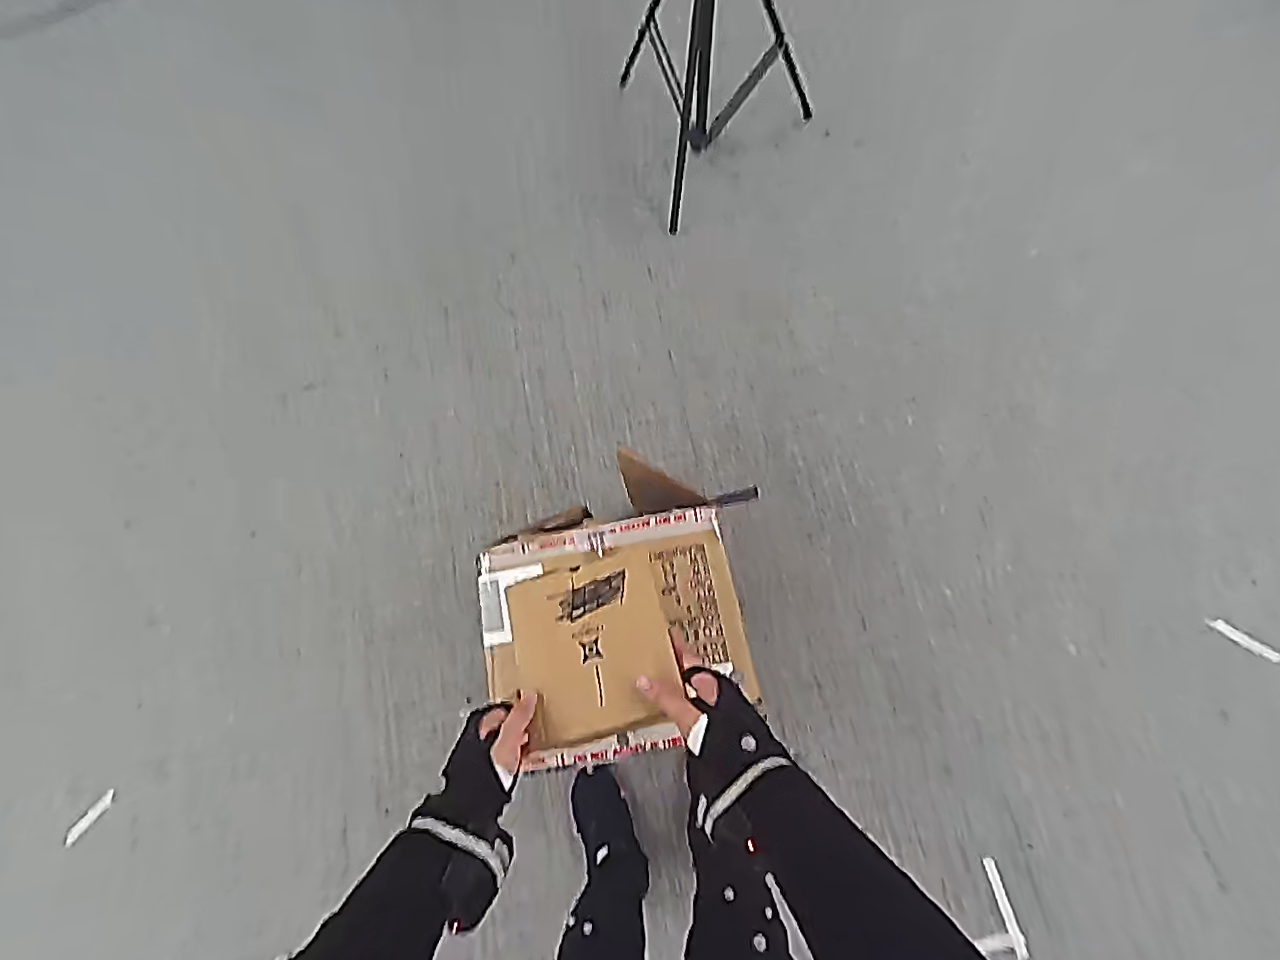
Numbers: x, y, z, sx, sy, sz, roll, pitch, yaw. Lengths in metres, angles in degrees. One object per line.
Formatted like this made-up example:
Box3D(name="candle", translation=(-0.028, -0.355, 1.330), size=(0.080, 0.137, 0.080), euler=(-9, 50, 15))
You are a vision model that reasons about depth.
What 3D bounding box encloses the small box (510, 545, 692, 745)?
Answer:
Box3D(name="small box", translation=(-0.040, 0.202, 0.642), size=(0.168, 0.176, 0.179), euler=(-16, 65, 0))
